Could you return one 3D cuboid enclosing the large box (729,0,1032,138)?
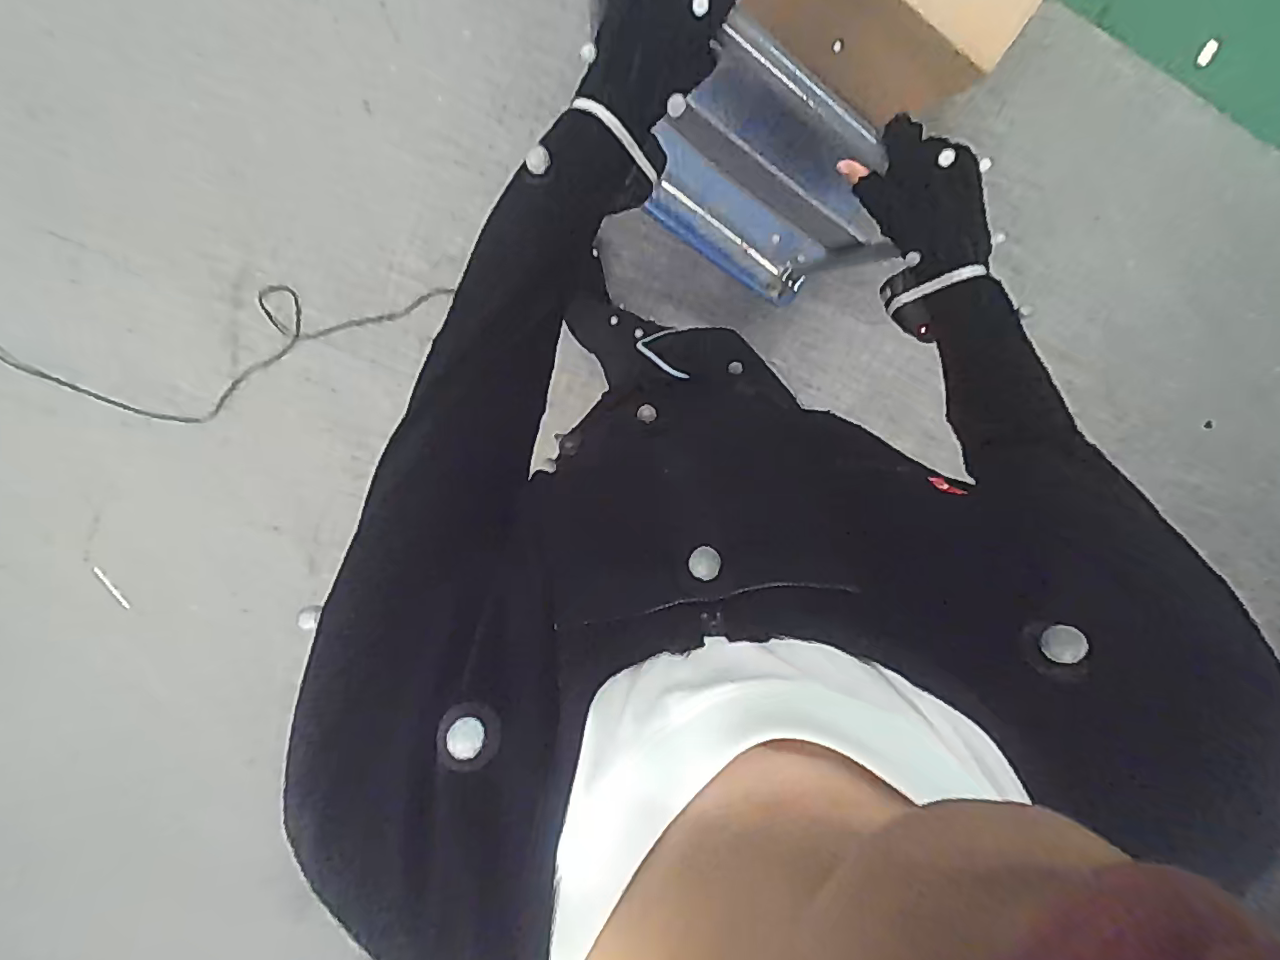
[{"bbox_3d":[0.414,-0.862,0.884,0.408,0.320,0.320,31,103,-10],"label":"large box"}]
